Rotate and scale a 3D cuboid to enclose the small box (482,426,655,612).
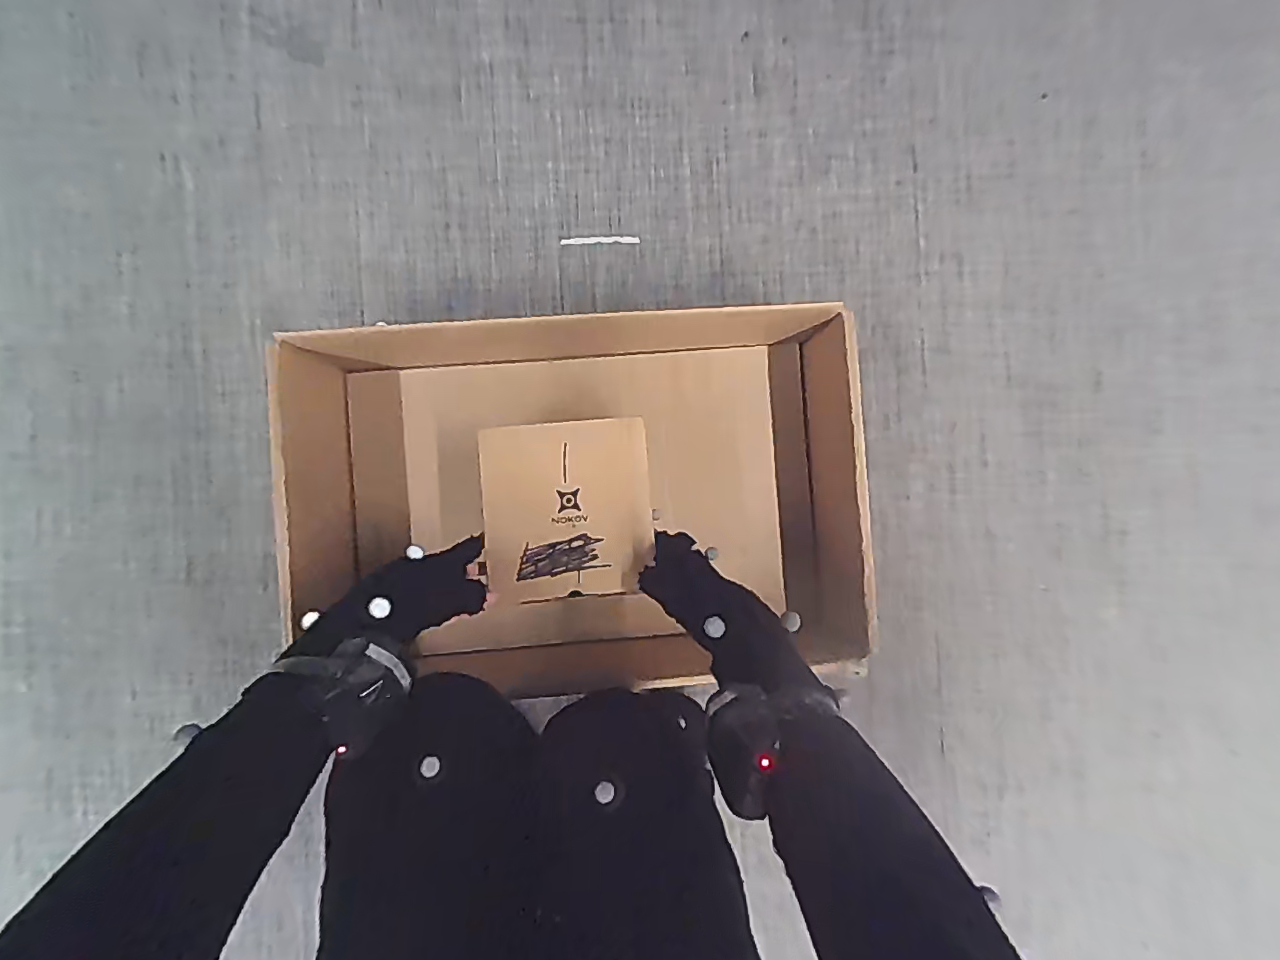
[{"bbox_3d":[-0.075,0.043,0.617,0.168,0.176,0.179,-5,85,-4],"label":"small box"}]
